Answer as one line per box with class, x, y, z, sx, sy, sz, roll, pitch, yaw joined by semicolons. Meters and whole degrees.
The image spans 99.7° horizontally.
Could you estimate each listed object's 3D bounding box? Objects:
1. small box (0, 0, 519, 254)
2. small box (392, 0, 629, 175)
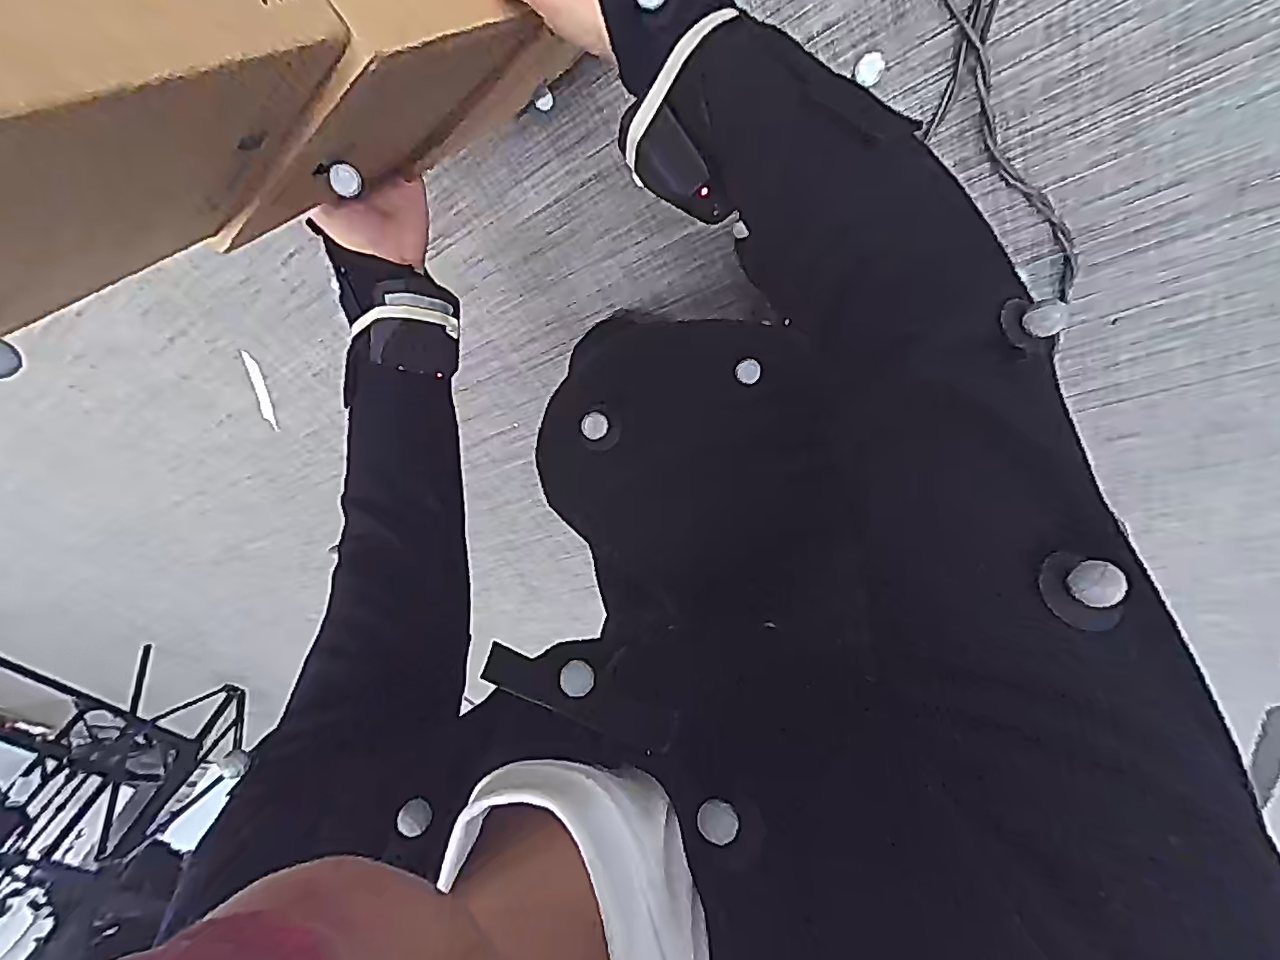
small box;-0.184;-0.255;0.266;0.179;0.176;0.168;-14;127;36
small box;-0.135;-0.361;0.378;0.168;0.176;0.179;-14;128;36
